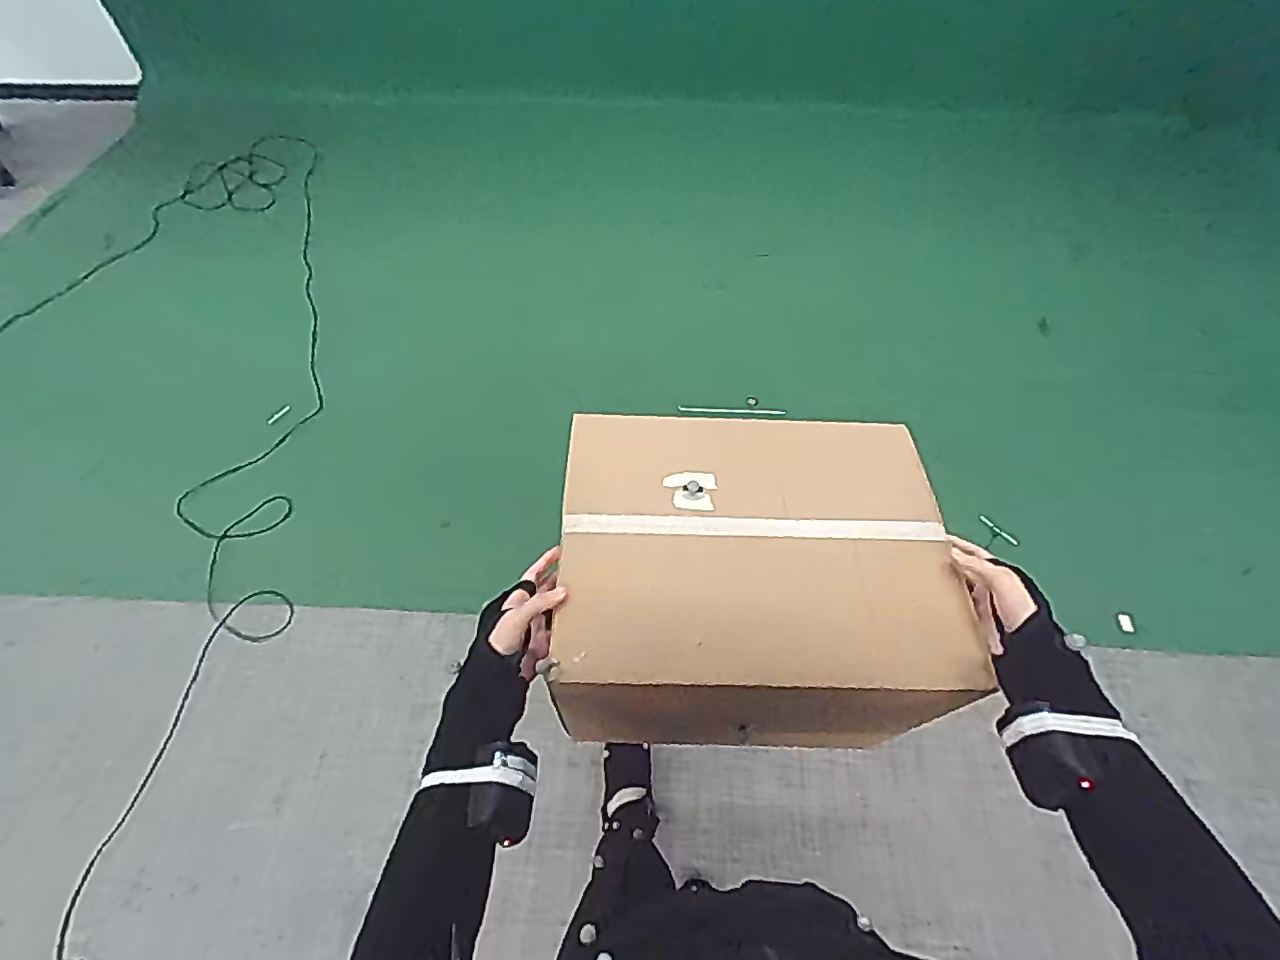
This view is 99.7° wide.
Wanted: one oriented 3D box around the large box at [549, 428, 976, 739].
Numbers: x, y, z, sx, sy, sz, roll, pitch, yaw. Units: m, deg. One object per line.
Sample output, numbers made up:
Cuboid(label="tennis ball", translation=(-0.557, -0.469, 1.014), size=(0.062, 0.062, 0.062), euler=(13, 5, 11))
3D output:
Cuboid(label="large box", translation=(0.114, 0.146, 0.701), size=(0.408, 0.320, 0.320), euler=(1, 55, 0))
